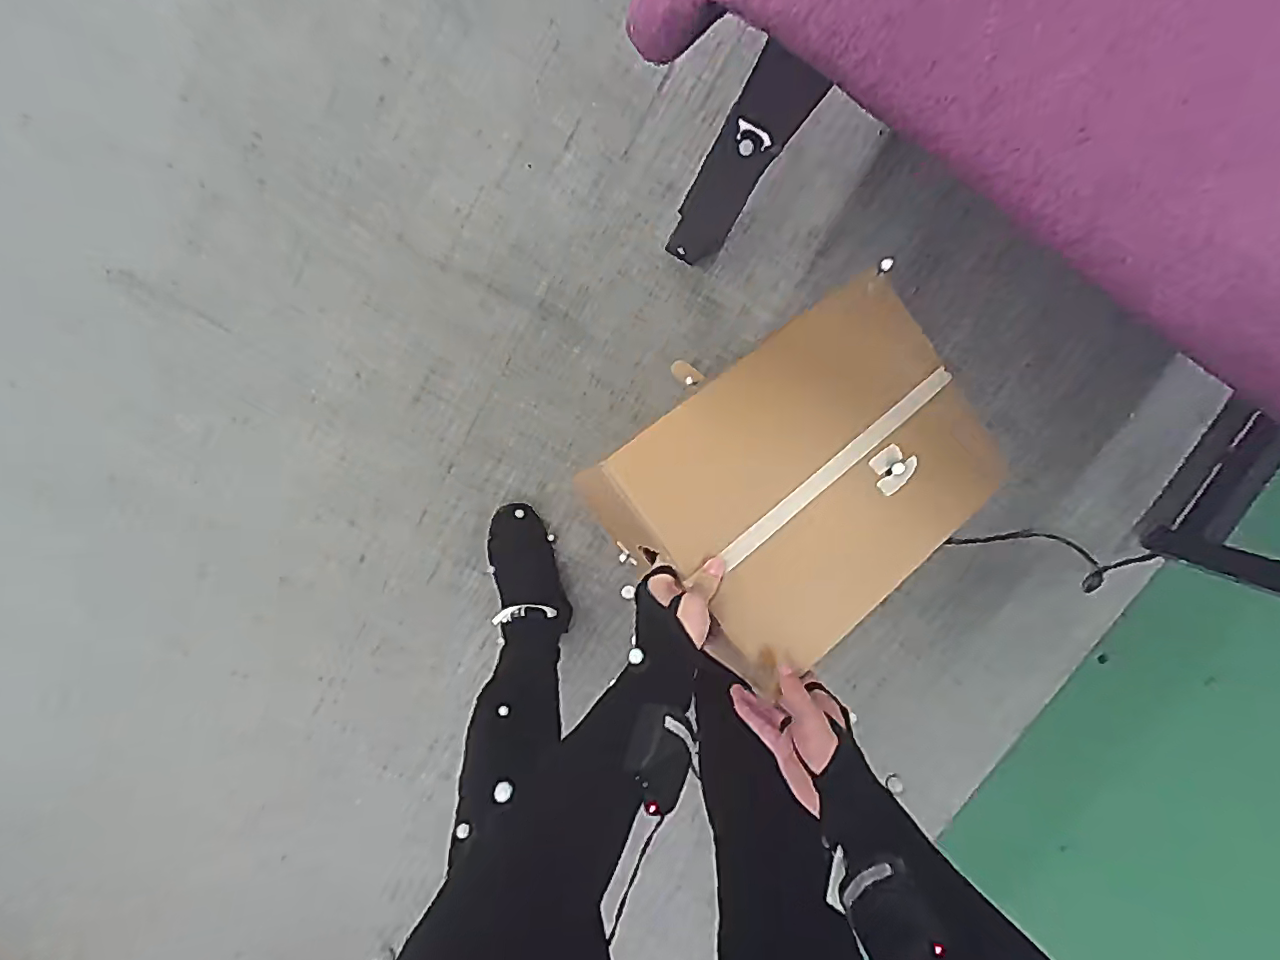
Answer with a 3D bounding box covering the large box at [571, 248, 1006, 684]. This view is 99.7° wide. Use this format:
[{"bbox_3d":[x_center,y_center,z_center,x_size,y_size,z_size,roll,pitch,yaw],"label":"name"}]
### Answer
[{"bbox_3d":[0.166,-0.017,0.733,0.408,0.320,0.320,-39,98,-13],"label":"large box"}]
